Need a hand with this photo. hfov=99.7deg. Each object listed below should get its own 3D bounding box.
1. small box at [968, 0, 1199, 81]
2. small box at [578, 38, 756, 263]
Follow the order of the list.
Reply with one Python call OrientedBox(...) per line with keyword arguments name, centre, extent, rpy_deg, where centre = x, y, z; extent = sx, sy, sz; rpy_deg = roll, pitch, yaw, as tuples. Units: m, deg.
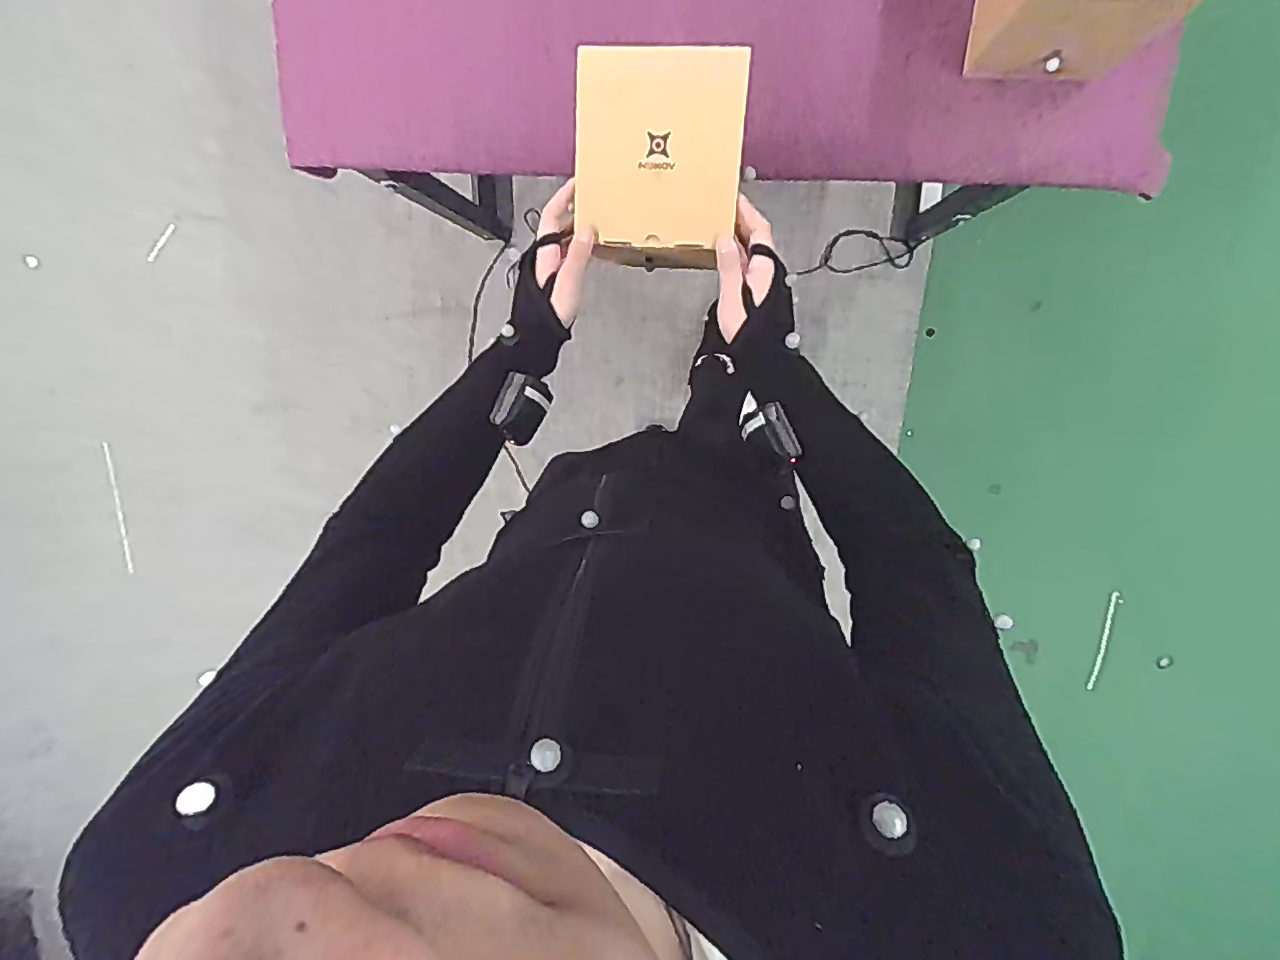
OrientedBox(name="small box", centre=(0.495, -0.584, 0.596), extent=(0.168, 0.176, 0.179), rpy_deg=(6, 102, 6))
OrientedBox(name="small box", centre=(0.029, -0.349, 0.604), extent=(0.168, 0.176, 0.179), rpy_deg=(4, 106, 5))
